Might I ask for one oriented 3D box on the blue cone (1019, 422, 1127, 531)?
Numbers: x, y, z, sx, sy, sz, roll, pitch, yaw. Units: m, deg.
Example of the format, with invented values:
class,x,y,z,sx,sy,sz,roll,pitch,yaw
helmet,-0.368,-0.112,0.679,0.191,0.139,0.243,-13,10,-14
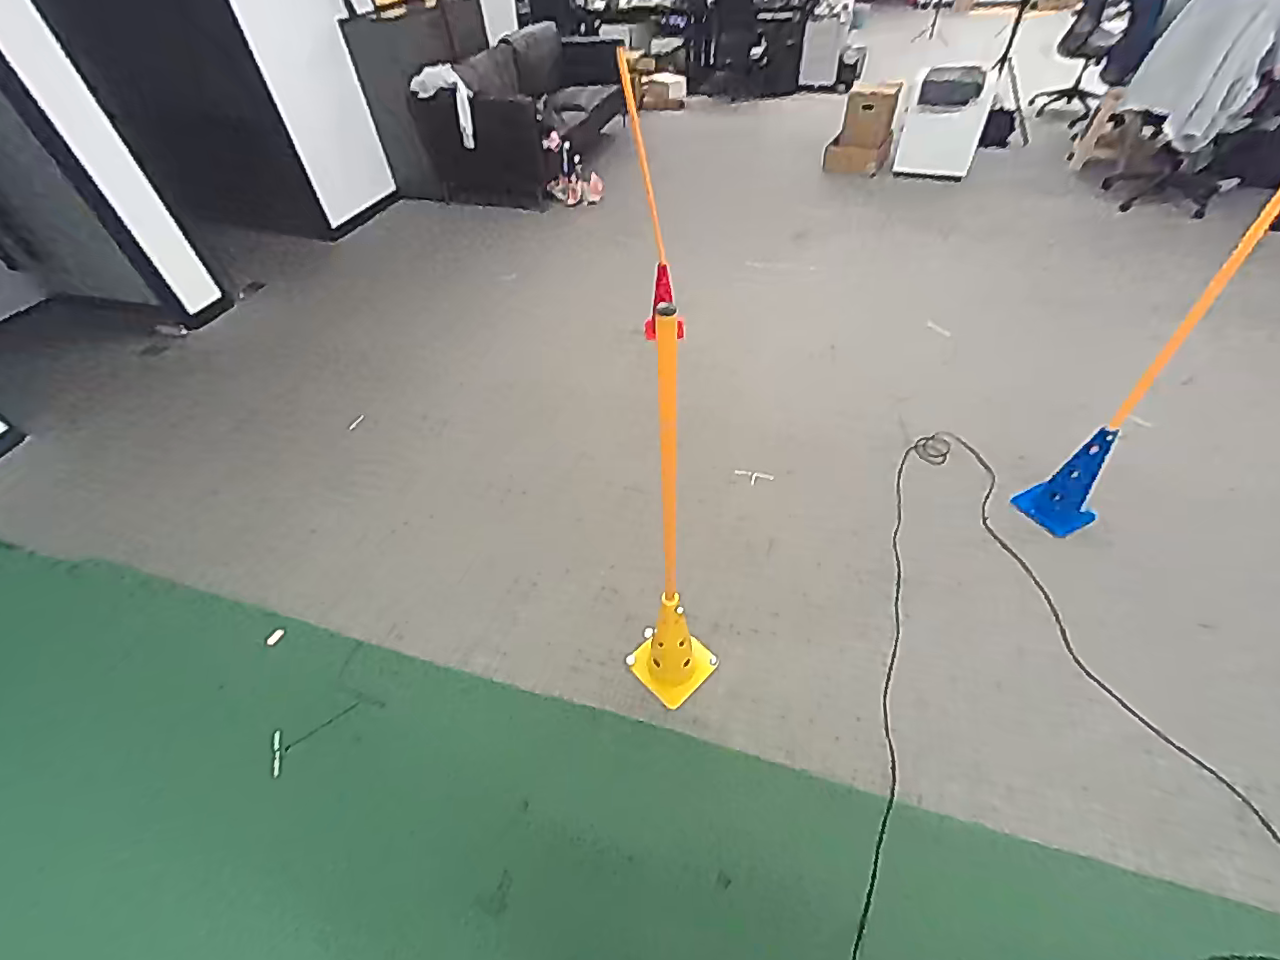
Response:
class,x,y,z,sx,sy,sz,roll,pitch,yaw
blue cone,1.427,-0.034,1.743,0.193,0.380,0.192,-21,48,-19
